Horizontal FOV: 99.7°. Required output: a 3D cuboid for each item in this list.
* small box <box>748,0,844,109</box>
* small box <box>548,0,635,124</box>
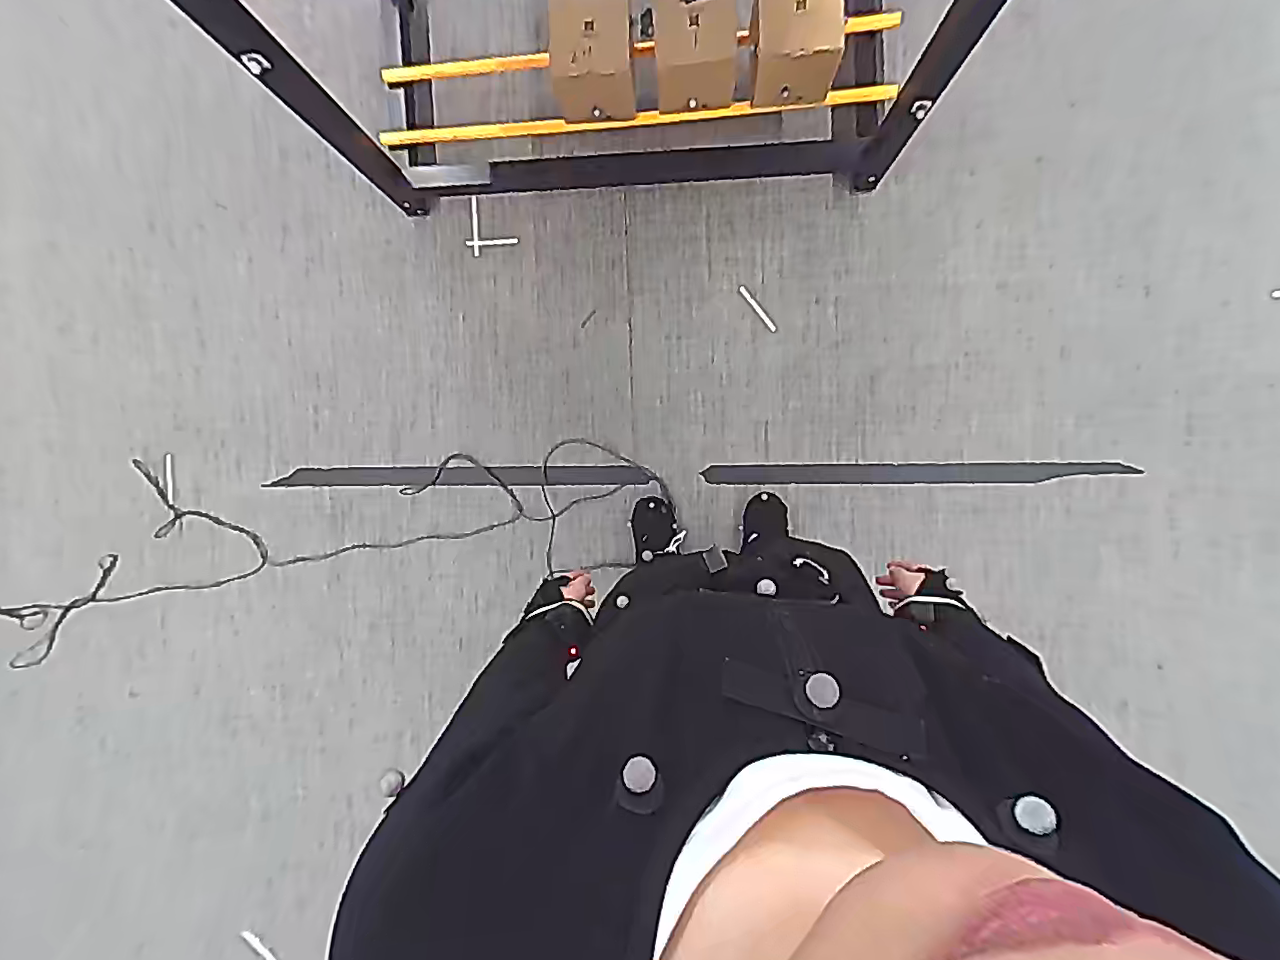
[{"bbox_3d":[0.320,-0.924,1.133,0.168,0.176,0.179,-2,93,5],"label":"small box"},{"bbox_3d":[-0.100,-0.907,1.165,0.168,0.176,0.179,0,94,4],"label":"small box"}]
